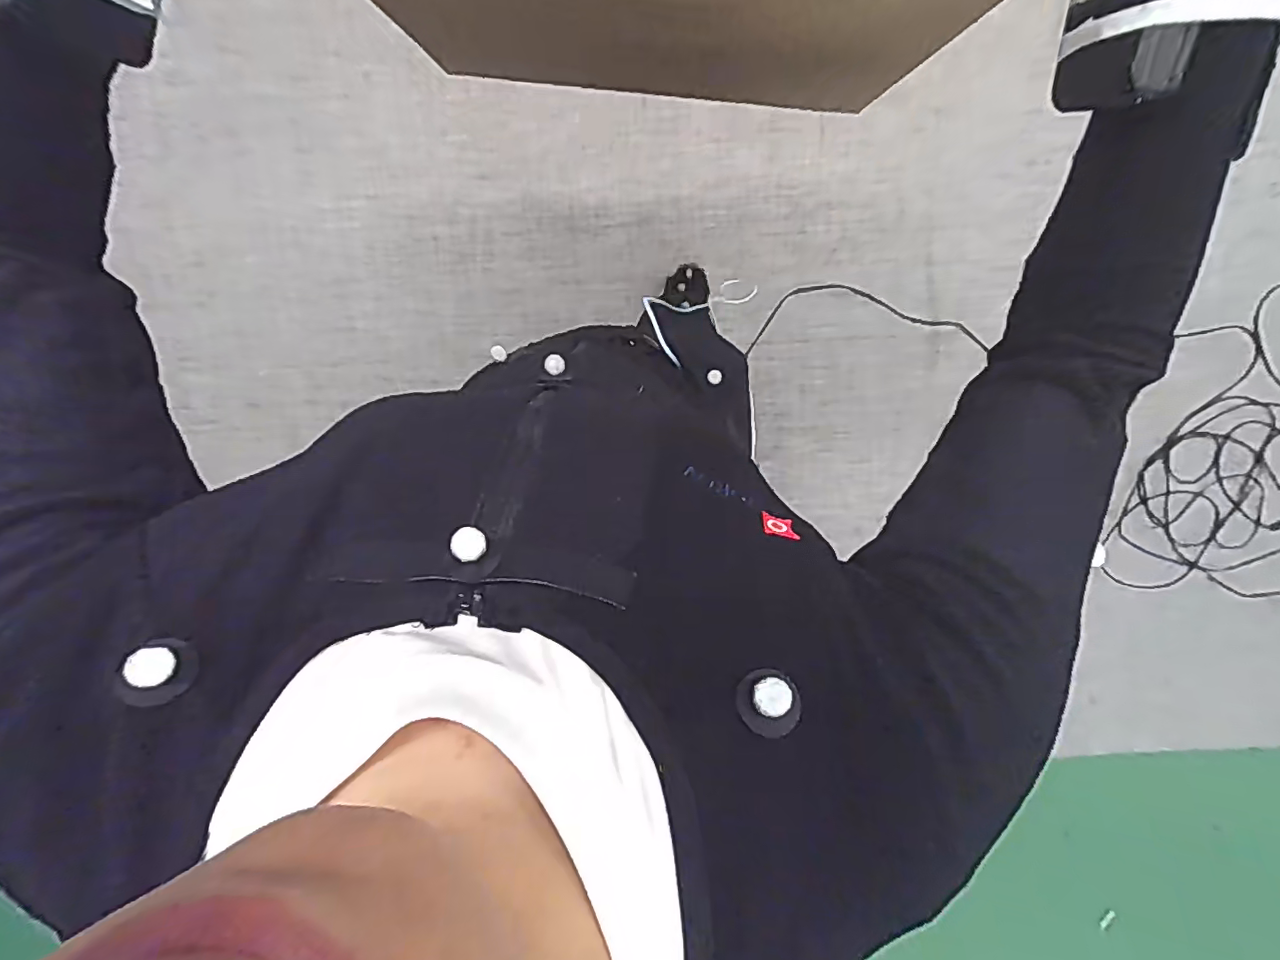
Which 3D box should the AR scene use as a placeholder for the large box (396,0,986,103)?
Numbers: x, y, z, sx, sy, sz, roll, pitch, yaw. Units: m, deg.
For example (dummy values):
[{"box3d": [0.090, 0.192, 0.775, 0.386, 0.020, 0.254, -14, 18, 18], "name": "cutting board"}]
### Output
[{"box3d": [0.029, -0.467, 0.332, 0.408, 0.320, 0.320, 4, 112, -2], "name": "large box"}]
